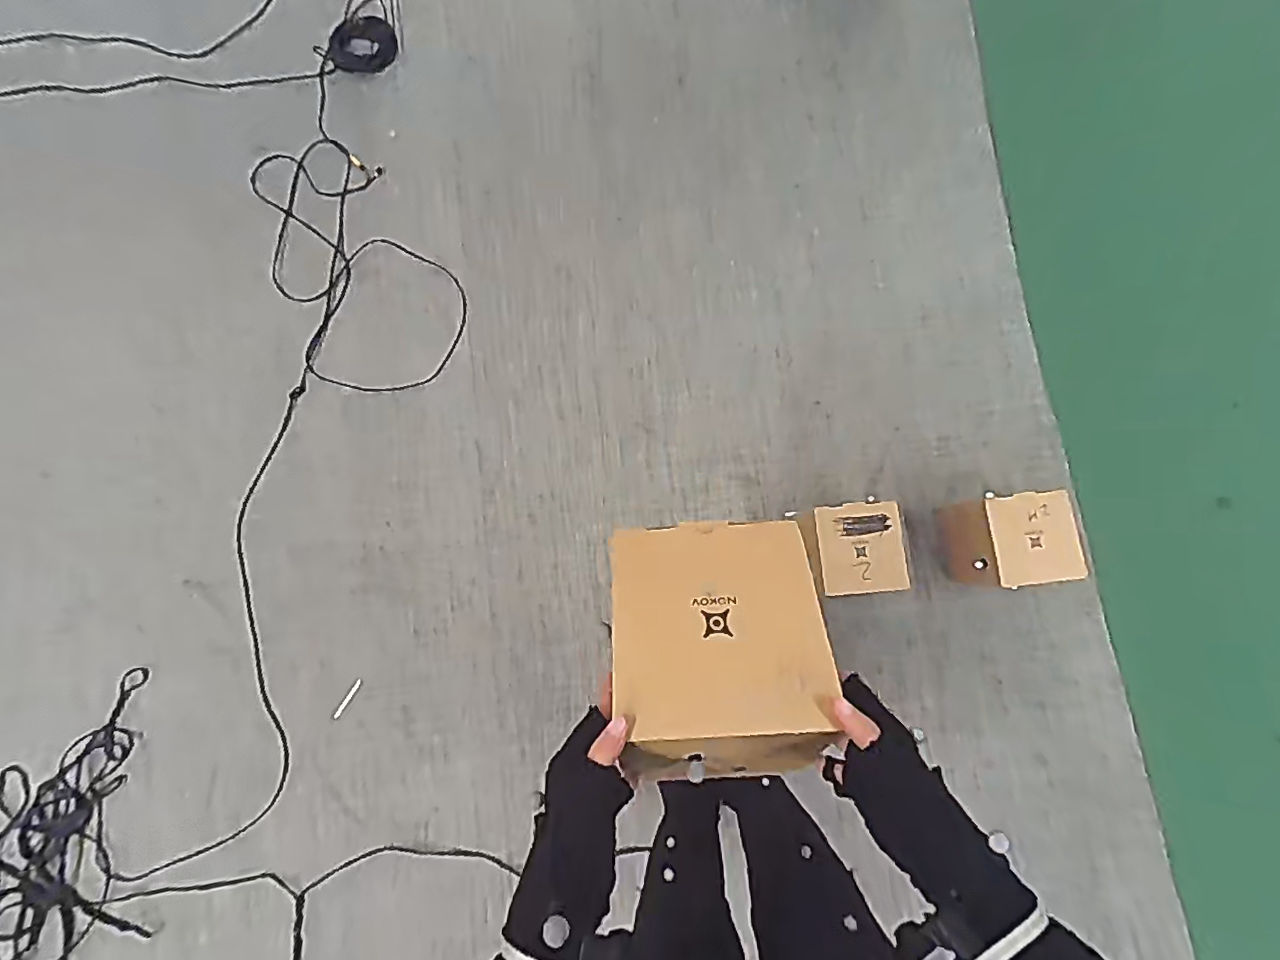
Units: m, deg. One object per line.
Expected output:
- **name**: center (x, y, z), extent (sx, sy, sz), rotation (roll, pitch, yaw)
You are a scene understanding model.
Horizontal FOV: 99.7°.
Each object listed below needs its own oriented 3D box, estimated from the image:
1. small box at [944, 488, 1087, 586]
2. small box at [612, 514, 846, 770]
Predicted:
- **small box**: center (0.762, 0.119, 1.116), extent (0.168, 0.176, 0.179), rotation (-7, 81, 0)
- **small box**: center (0.064, 0.152, 0.486), extent (0.168, 0.176, 0.179), rotation (-3, 51, 0)
